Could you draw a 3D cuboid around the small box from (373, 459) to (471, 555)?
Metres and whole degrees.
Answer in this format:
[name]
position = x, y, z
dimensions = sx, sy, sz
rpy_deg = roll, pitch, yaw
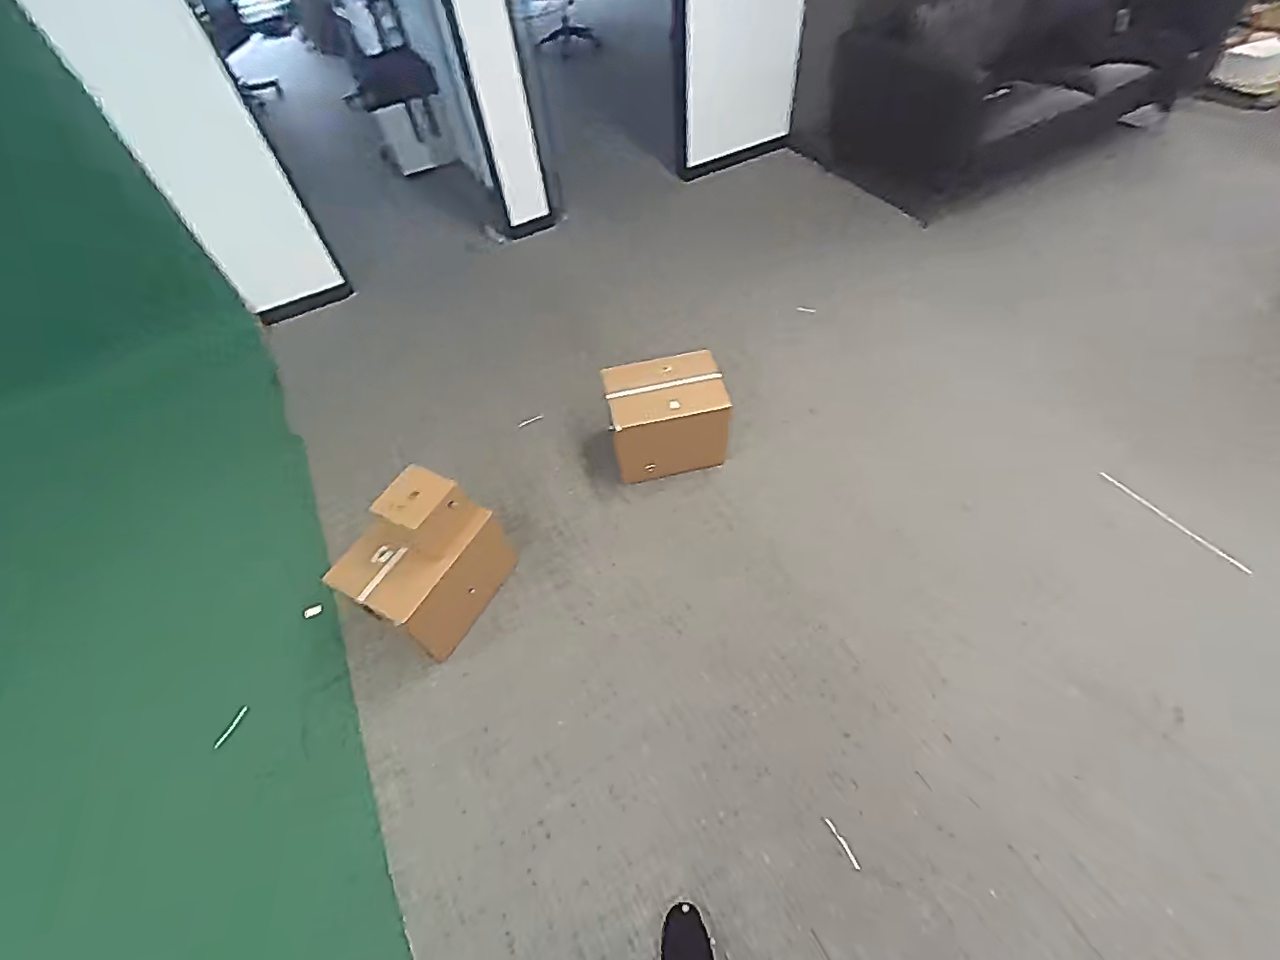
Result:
[small box]
position = -0.599, 0.079, 1.520
dimensions = 0.168, 0.176, 0.179
rpy_deg = 21, 57, 19

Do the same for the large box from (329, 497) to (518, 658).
[large box]
position = -0.645, 0.270, 1.690
dimensions = 0.320, 0.320, 0.408
rpy_deg = 20, 58, 20
